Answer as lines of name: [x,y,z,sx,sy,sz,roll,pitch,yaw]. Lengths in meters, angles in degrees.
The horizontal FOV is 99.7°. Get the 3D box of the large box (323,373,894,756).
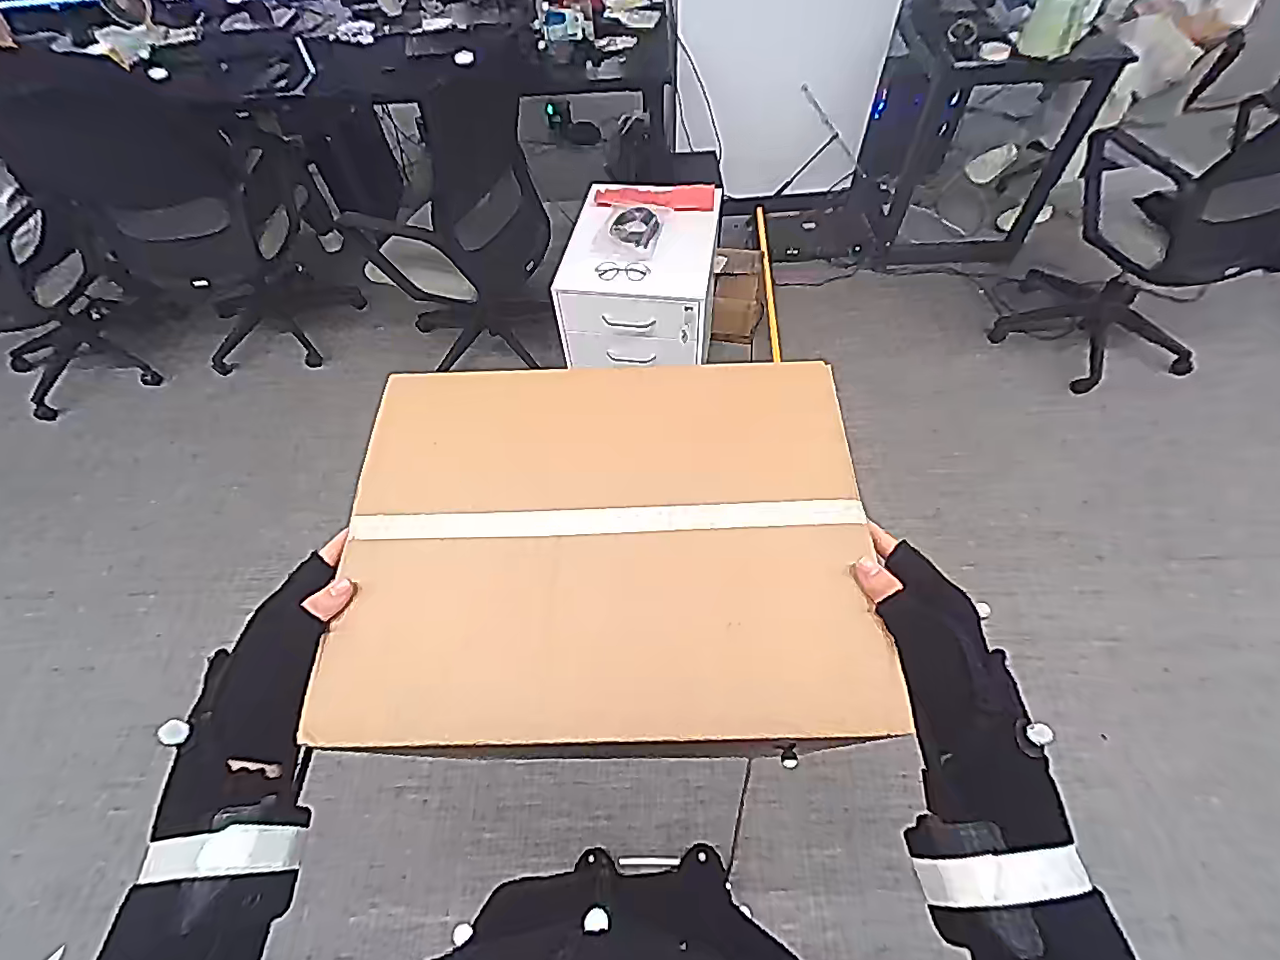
large box: [-0.021,0.112,0.570,0.408,0.320,0.320,-2,61,1]
